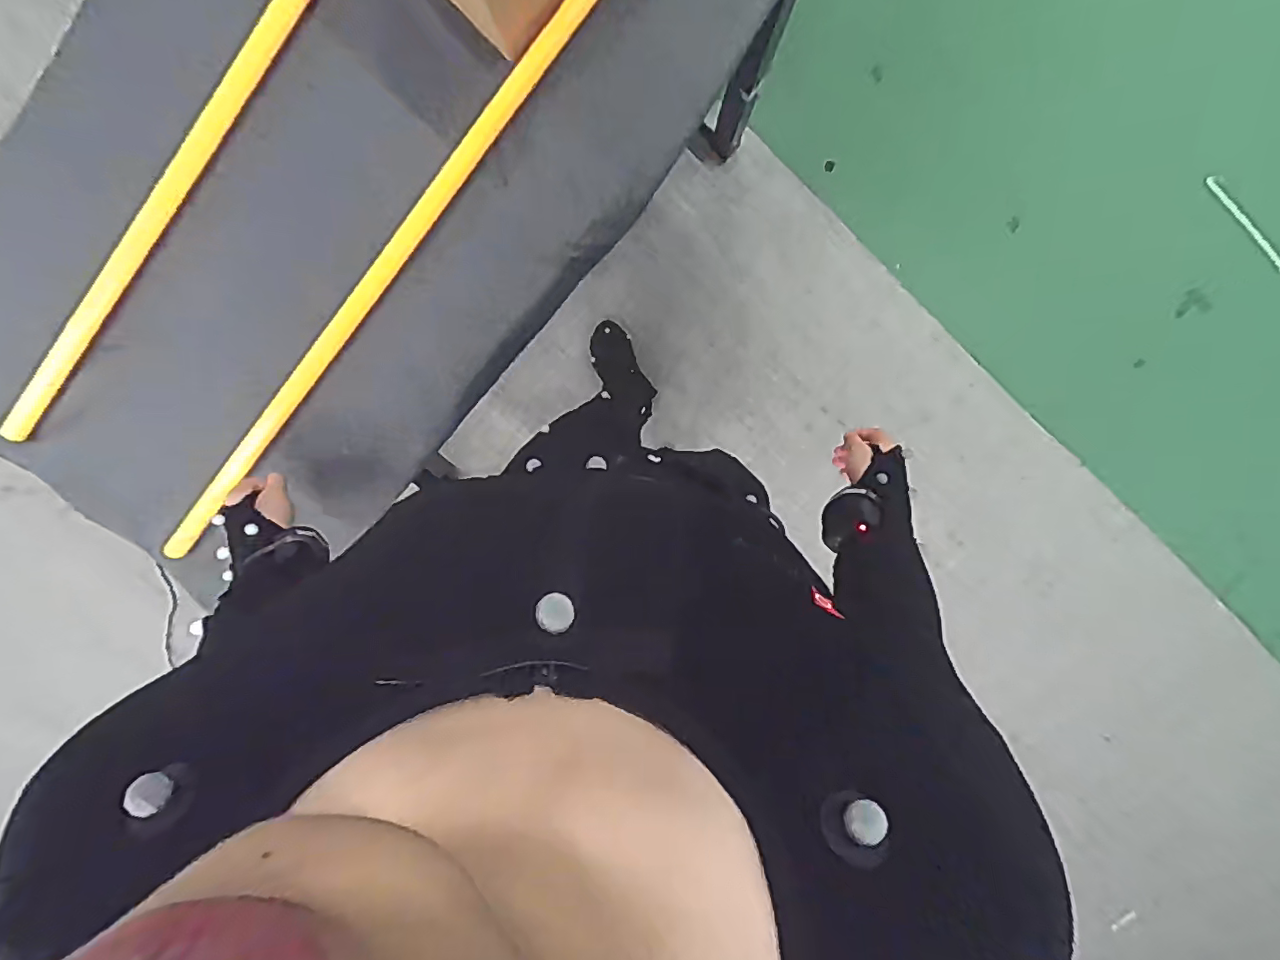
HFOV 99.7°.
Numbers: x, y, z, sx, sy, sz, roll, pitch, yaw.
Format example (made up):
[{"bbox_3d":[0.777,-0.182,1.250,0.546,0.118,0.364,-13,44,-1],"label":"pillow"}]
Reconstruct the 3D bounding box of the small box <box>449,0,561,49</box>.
[{"bbox_3d":[-0.152,-0.579,0.529,0.179,0.176,0.168,43,99,-8],"label":"small box"}]
